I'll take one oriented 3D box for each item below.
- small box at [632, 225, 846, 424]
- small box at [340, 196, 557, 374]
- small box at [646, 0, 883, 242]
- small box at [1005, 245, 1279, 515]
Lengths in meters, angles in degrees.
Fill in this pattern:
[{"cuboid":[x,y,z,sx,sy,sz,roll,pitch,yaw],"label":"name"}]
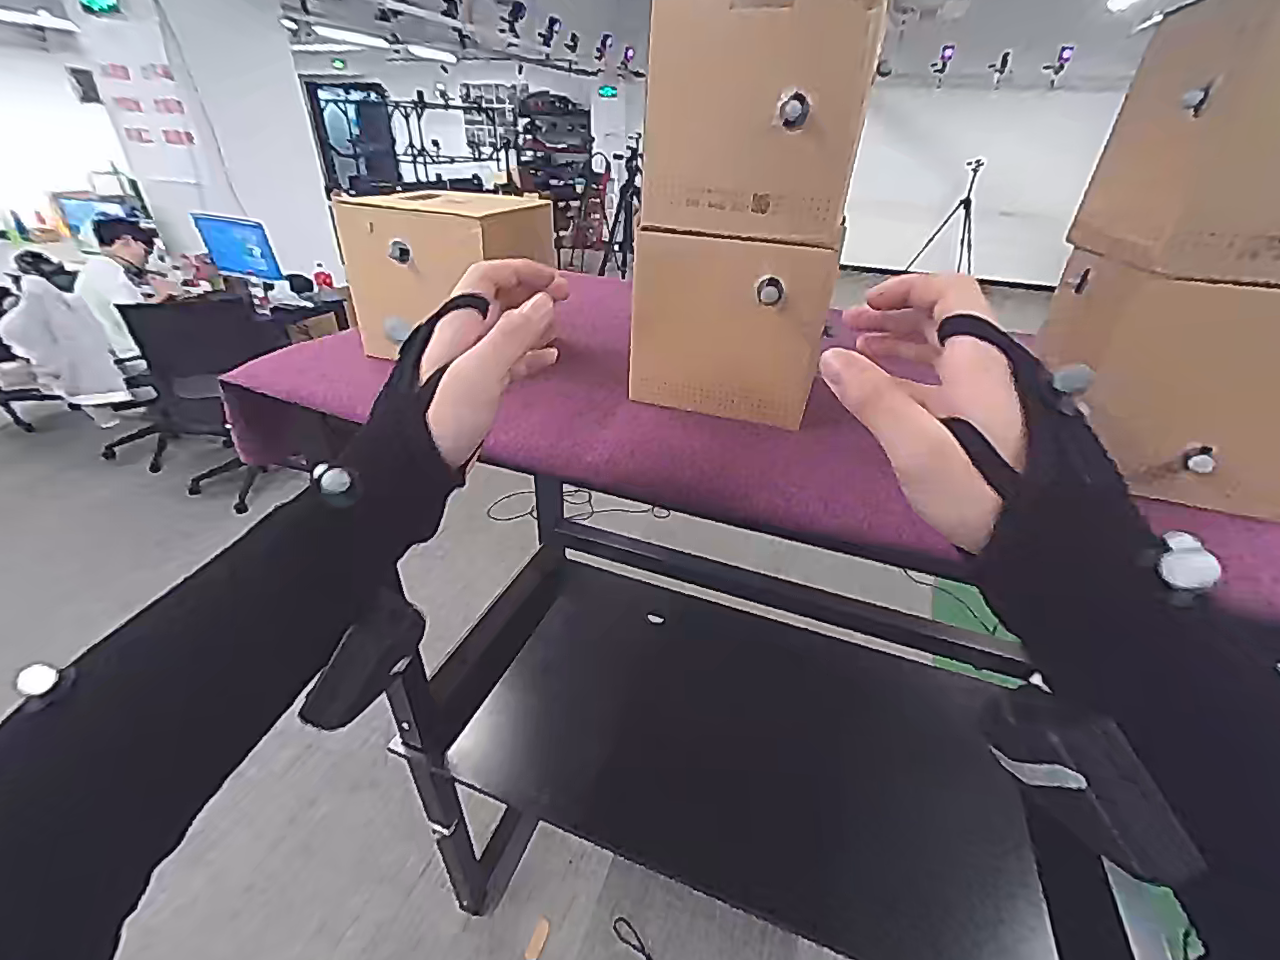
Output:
[{"cuboid":[0.101,-0.171,0.563,0.179,0.176,0.168,13,32,17],"label":"small box"},{"cuboid":[-0.213,-0.238,0.648,0.179,0.176,0.168,12,33,13],"label":"small box"},{"cuboid":[0.109,-0.315,0.485,0.168,0.176,0.179,14,33,16],"label":"small box"},{"cuboid":[0.449,-0.090,0.455,0.179,0.176,0.168,13,31,16],"label":"small box"}]
